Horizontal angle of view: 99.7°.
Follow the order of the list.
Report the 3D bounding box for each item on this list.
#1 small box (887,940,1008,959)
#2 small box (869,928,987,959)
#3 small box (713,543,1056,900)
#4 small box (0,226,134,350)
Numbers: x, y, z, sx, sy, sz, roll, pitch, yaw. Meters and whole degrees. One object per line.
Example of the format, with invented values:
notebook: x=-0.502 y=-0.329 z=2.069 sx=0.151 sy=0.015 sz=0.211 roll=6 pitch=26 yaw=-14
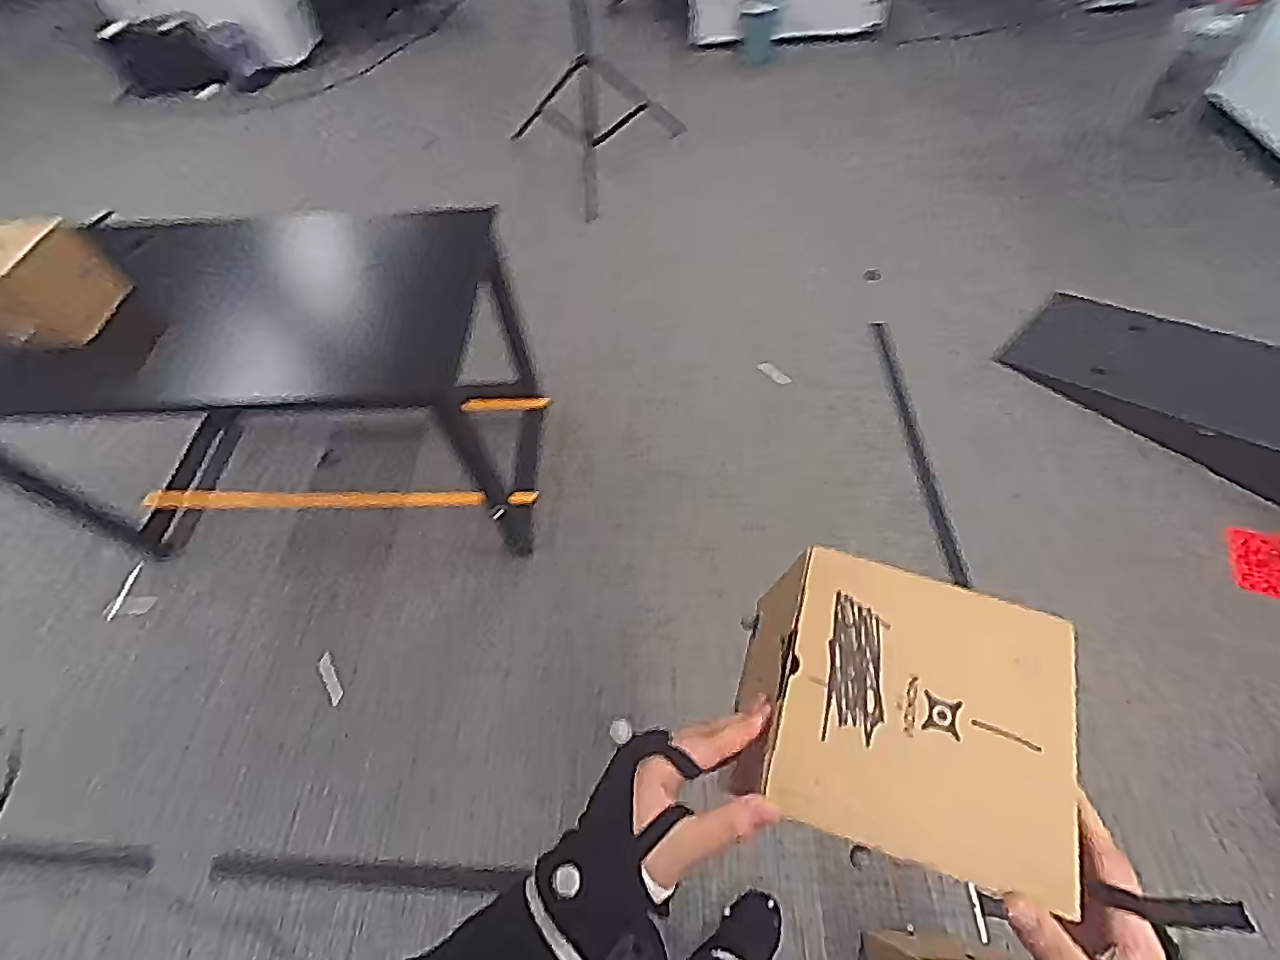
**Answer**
small box: x=0.521 y=0.854 z=0.858 sx=0.179 sy=0.176 sz=0.168 roll=0 pitch=58 yaw=5
small box: x=0.538 y=0.946 z=0.996 sx=0.179 sy=0.176 sz=0.168 roll=-1 pitch=58 yaw=4
small box: x=0.161 y=0.169 z=0.404 sx=0.179 sy=0.176 sz=0.168 roll=15 pitch=66 yaw=6
small box: x=-1.205 y=-0.389 z=1.105 sx=0.168 sy=0.176 sz=0.179 roll=-3 pitch=58 yaw=3
